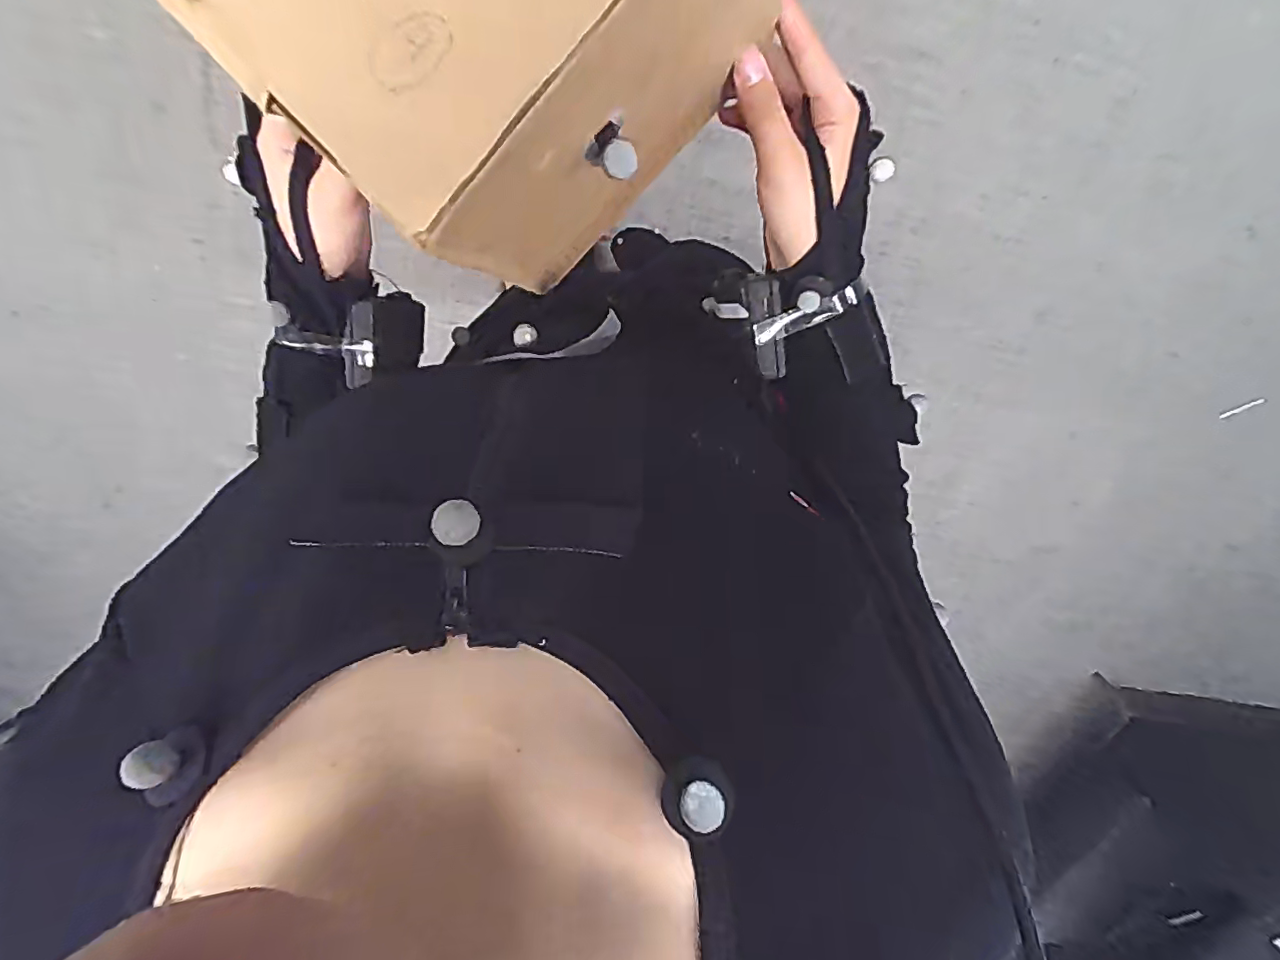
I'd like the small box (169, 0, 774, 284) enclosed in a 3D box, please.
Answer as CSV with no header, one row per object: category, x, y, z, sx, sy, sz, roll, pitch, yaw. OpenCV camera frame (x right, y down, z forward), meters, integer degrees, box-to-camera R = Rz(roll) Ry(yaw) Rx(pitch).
small box,-0.055,-0.203,0.218,0.179,0.176,0.168,-42,98,13
